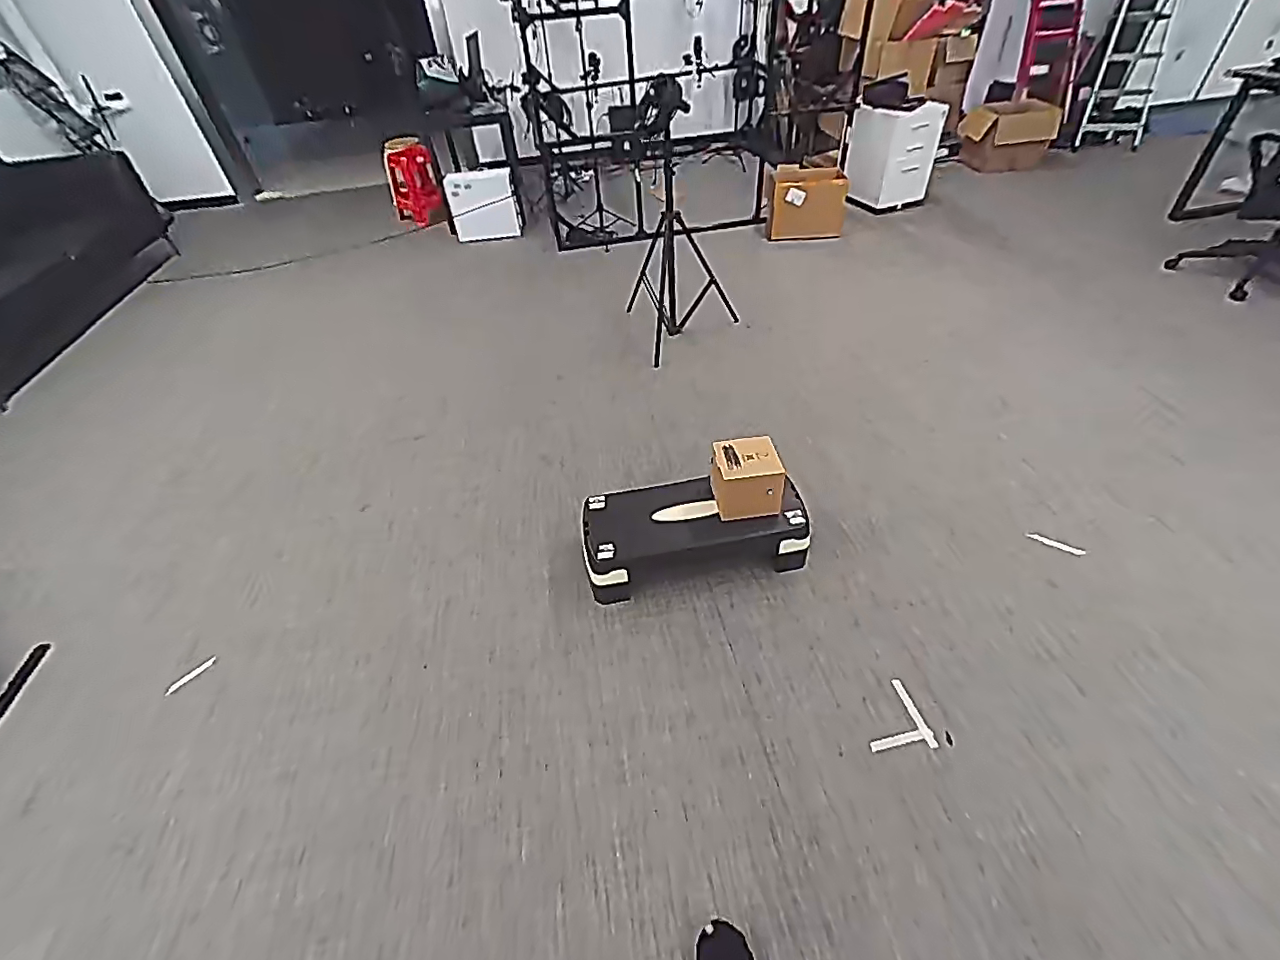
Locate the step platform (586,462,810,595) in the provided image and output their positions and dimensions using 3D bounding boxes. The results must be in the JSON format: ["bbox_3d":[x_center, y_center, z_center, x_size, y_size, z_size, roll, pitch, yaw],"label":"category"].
[{"bbox_3d":[0.174,0.143,1.706,0.684,0.204,0.286,-10,43,-4],"label":"step platform"}]
